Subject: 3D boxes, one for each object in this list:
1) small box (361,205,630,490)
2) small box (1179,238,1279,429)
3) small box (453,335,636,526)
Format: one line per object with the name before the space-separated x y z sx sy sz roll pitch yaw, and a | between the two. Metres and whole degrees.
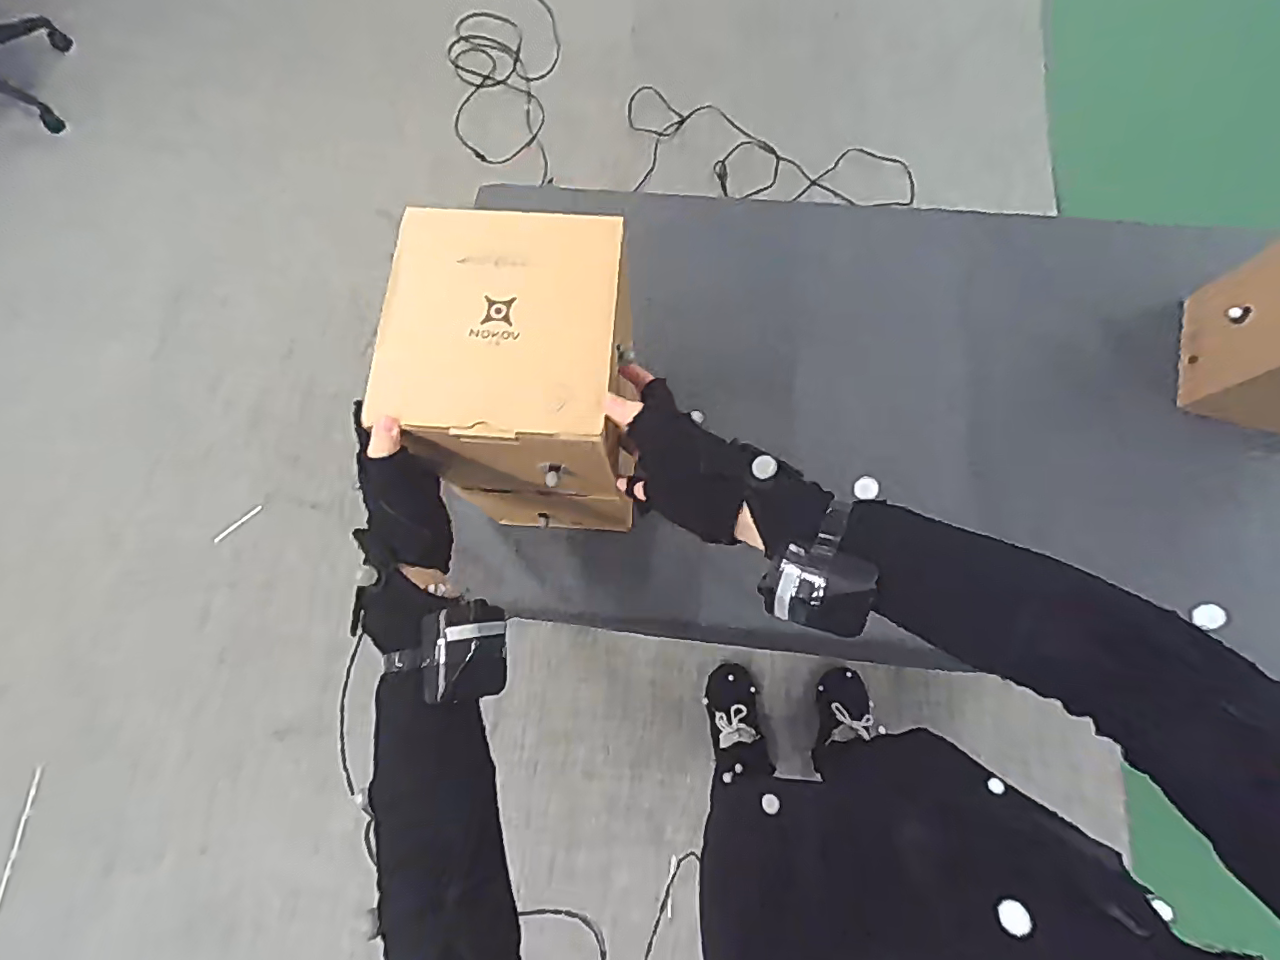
small box | -0.098 -0.095 0.455 0.168 0.176 0.179 4 75 2
small box | 0.772 -0.167 0.609 0.179 0.176 0.168 16 77 6
small box | -0.092 -0.052 0.612 0.168 0.176 0.179 2 76 2
